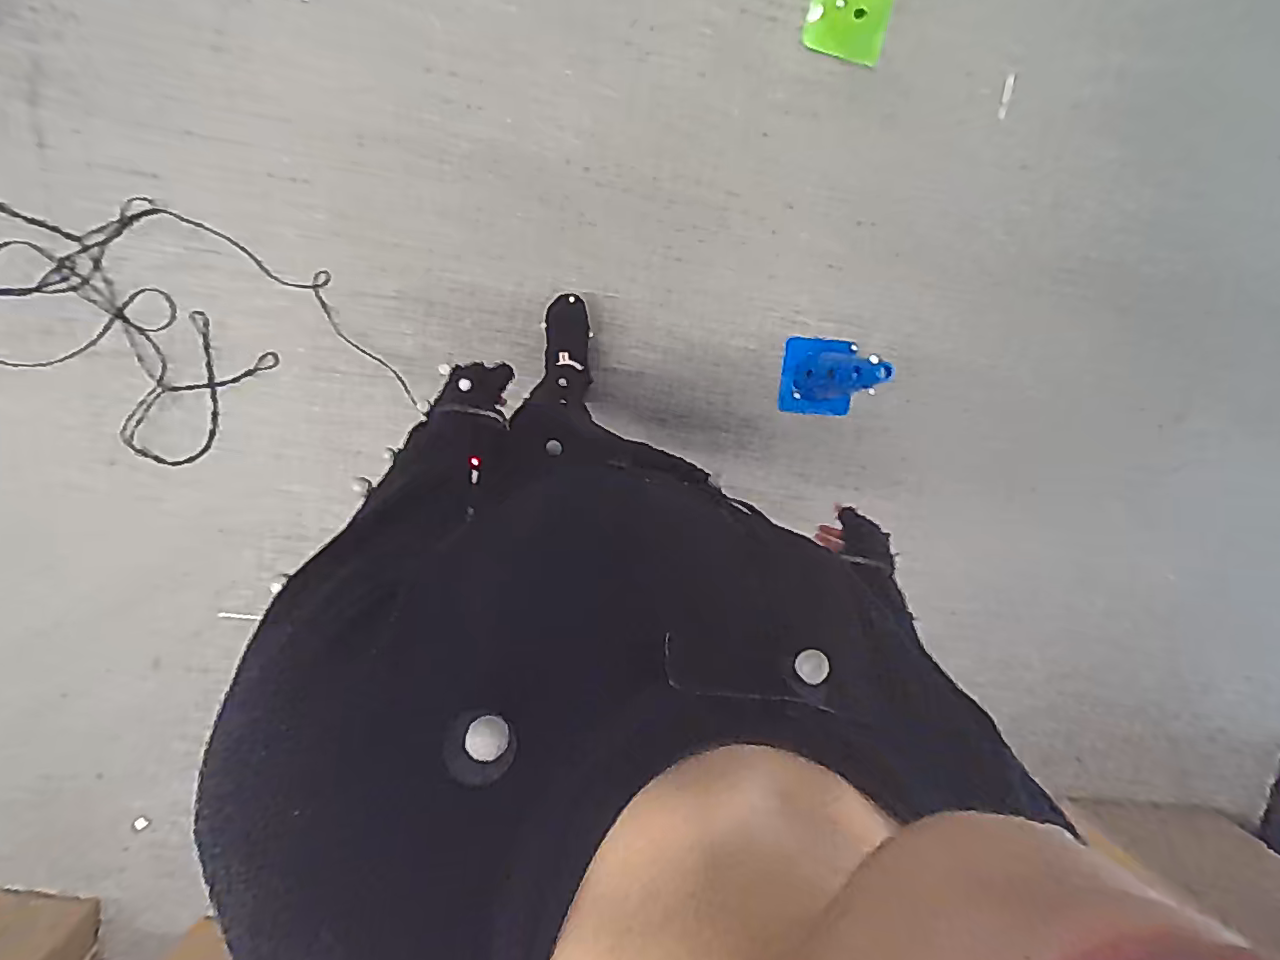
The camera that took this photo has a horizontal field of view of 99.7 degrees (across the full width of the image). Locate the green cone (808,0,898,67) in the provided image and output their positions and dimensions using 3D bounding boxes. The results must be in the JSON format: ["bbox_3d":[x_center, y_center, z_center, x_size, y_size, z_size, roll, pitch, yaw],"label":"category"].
[{"bbox_3d":[0.532,-1.111,1.152,0.200,0.368,0.202,11,98,-5],"label":"green cone"}]
